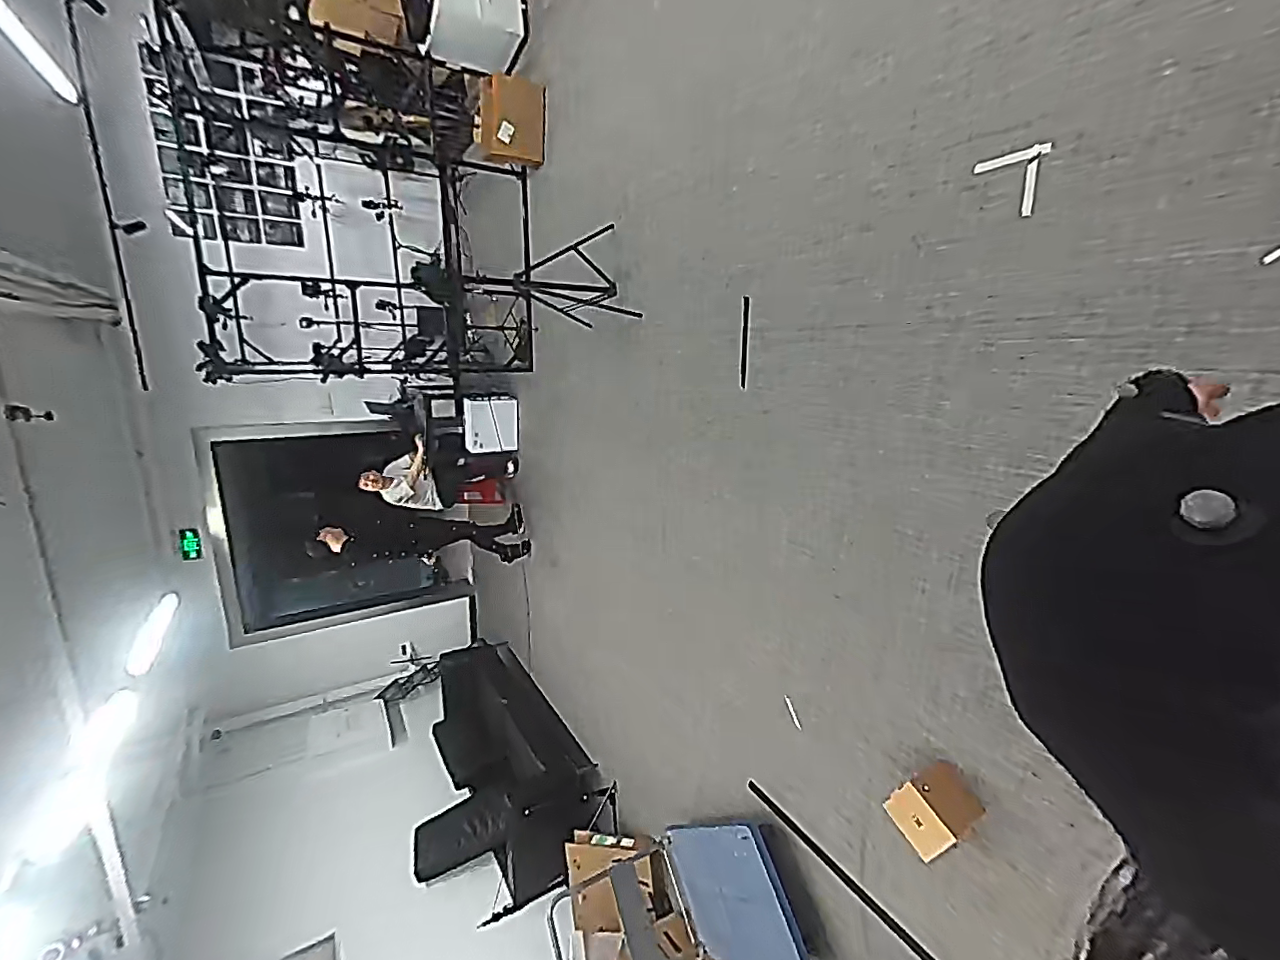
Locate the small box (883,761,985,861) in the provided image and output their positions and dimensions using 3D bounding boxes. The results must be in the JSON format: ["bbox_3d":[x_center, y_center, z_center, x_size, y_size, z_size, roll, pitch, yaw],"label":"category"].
[{"bbox_3d":[0.883,0.988,1.623,0.179,0.176,0.168,53,139,41],"label":"small box"}]
